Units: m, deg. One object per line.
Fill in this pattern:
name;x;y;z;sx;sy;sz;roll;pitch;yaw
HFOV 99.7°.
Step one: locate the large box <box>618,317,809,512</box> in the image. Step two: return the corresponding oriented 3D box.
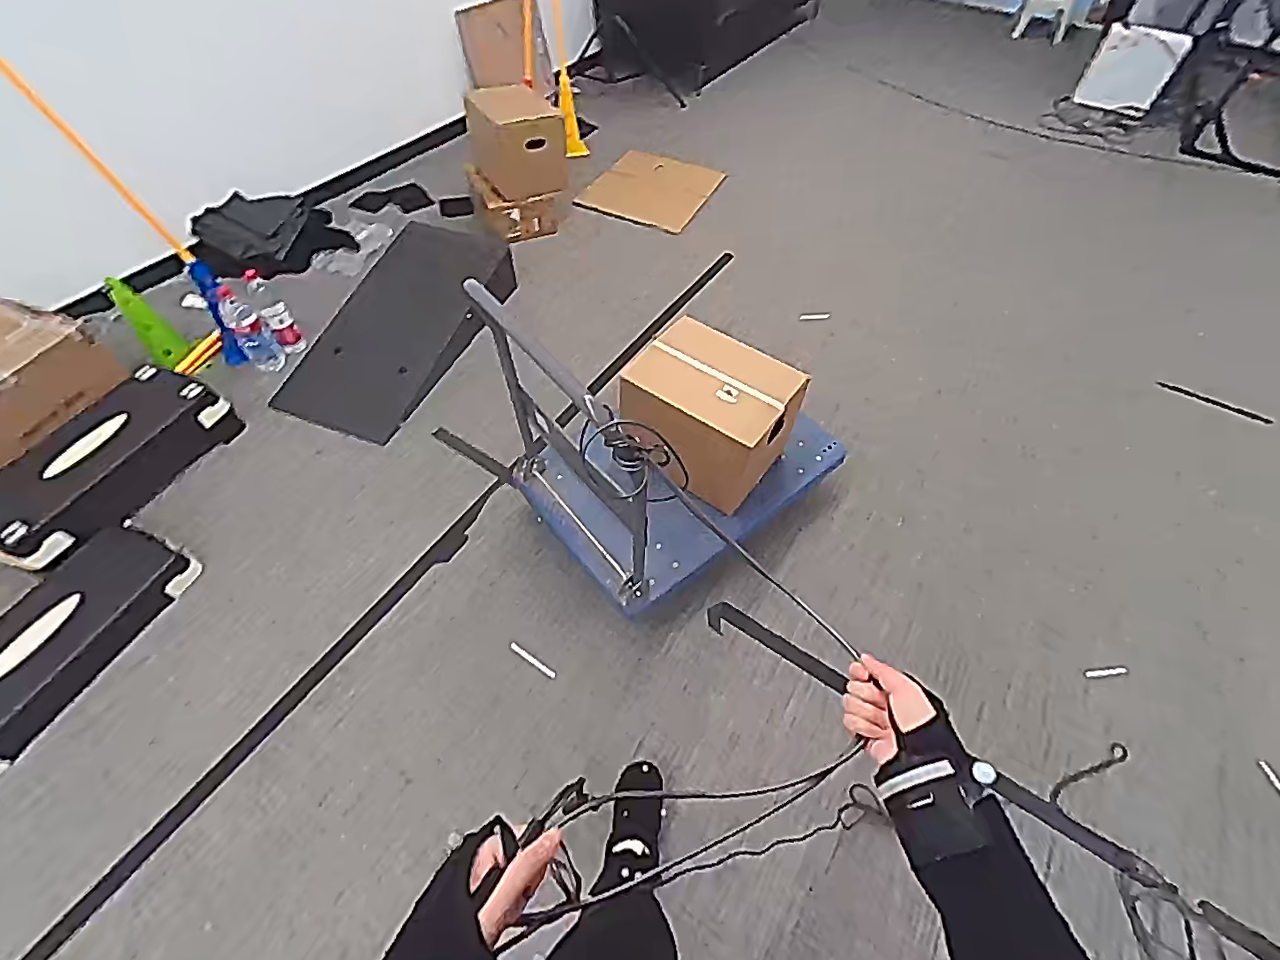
large box;0.186;-0.185;1.520;0.408;0.320;0.320;32;61;18
